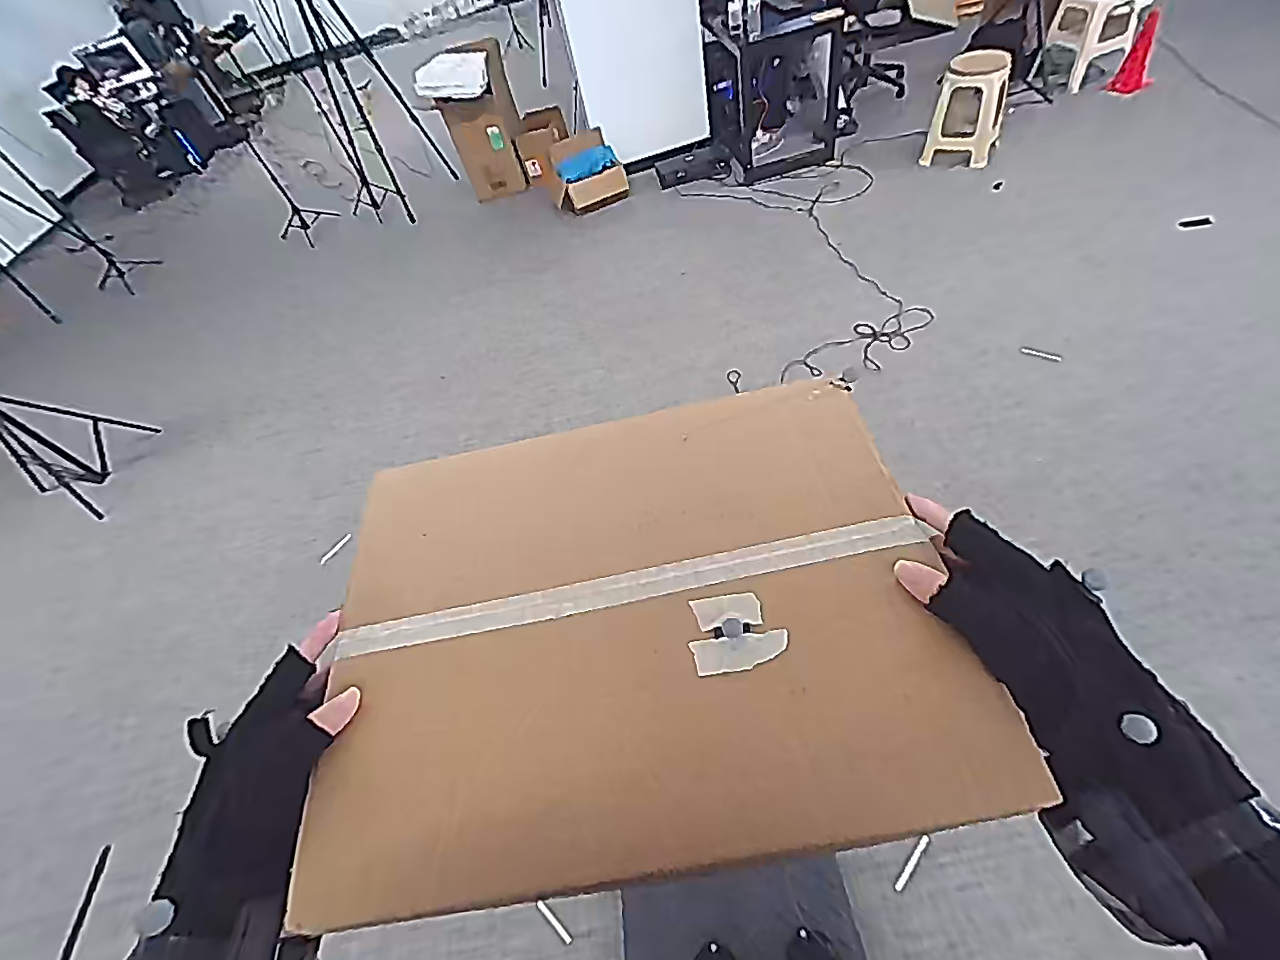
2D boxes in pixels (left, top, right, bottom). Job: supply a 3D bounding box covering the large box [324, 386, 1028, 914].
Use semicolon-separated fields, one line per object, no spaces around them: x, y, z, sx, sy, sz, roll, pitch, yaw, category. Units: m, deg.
0.016;0.165;0.500;0.408;0.320;0.320;-11;54;2;large box
